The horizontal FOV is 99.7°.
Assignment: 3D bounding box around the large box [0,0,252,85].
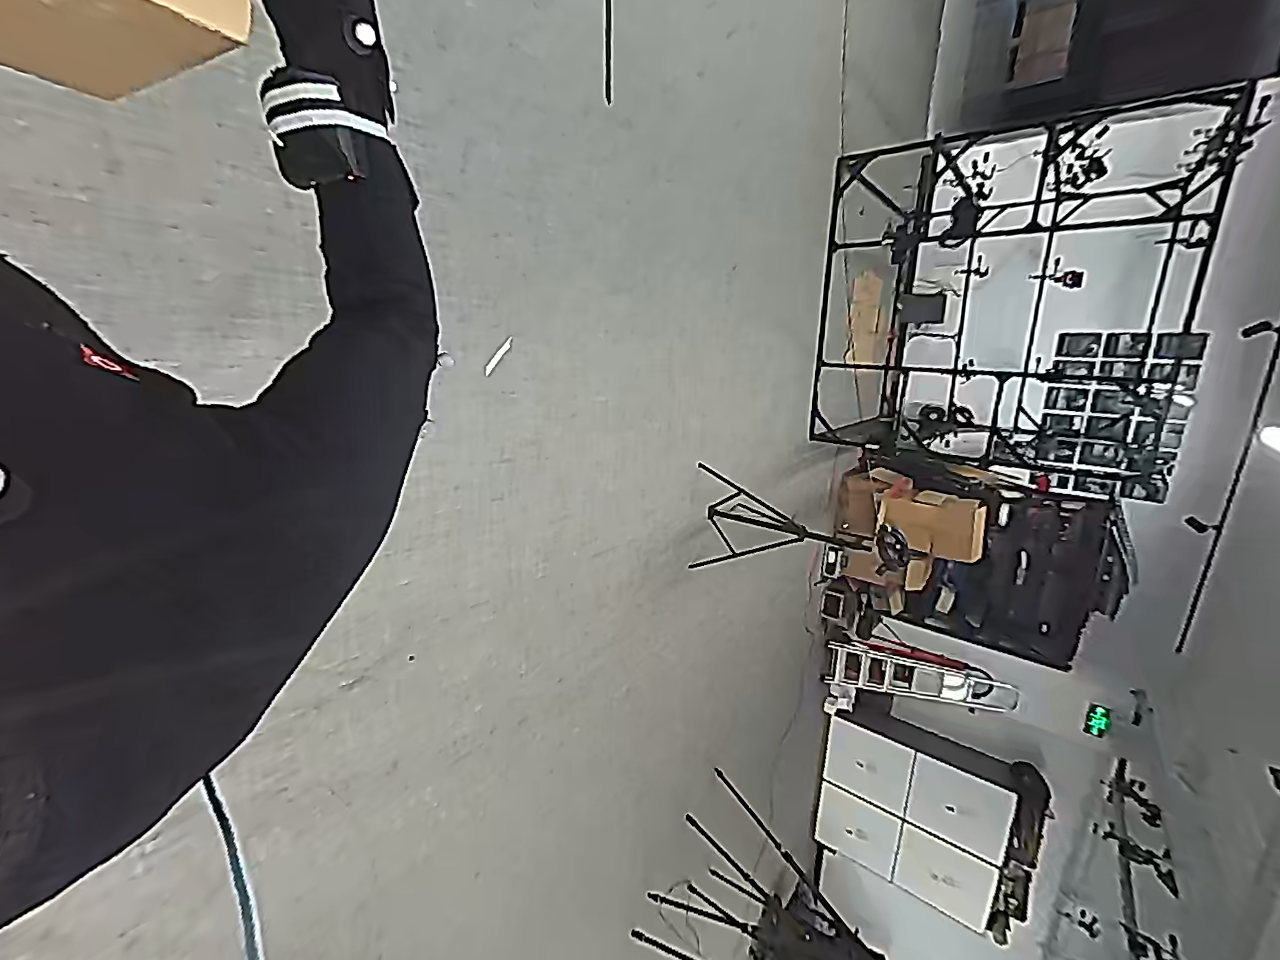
[{"bbox_3d":[-0.477,-0.461,0.247,0.408,0.320,0.320,-11,115,-55],"label":"large box"}]
